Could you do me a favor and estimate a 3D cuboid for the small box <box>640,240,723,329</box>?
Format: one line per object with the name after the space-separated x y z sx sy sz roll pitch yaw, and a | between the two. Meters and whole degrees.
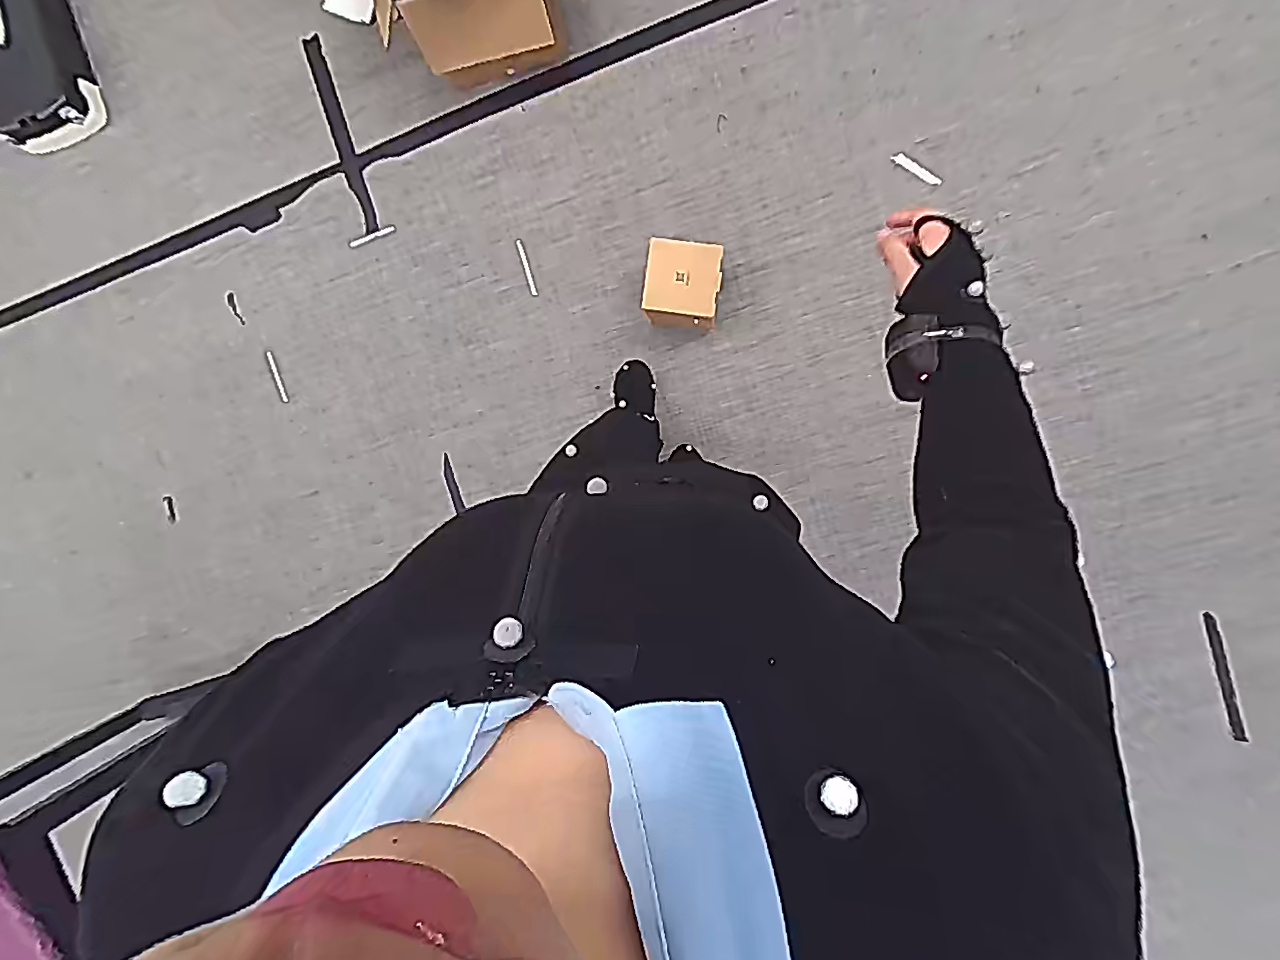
0.105 -0.480 1.346 0.179 0.176 0.168 8 97 4 | small box
